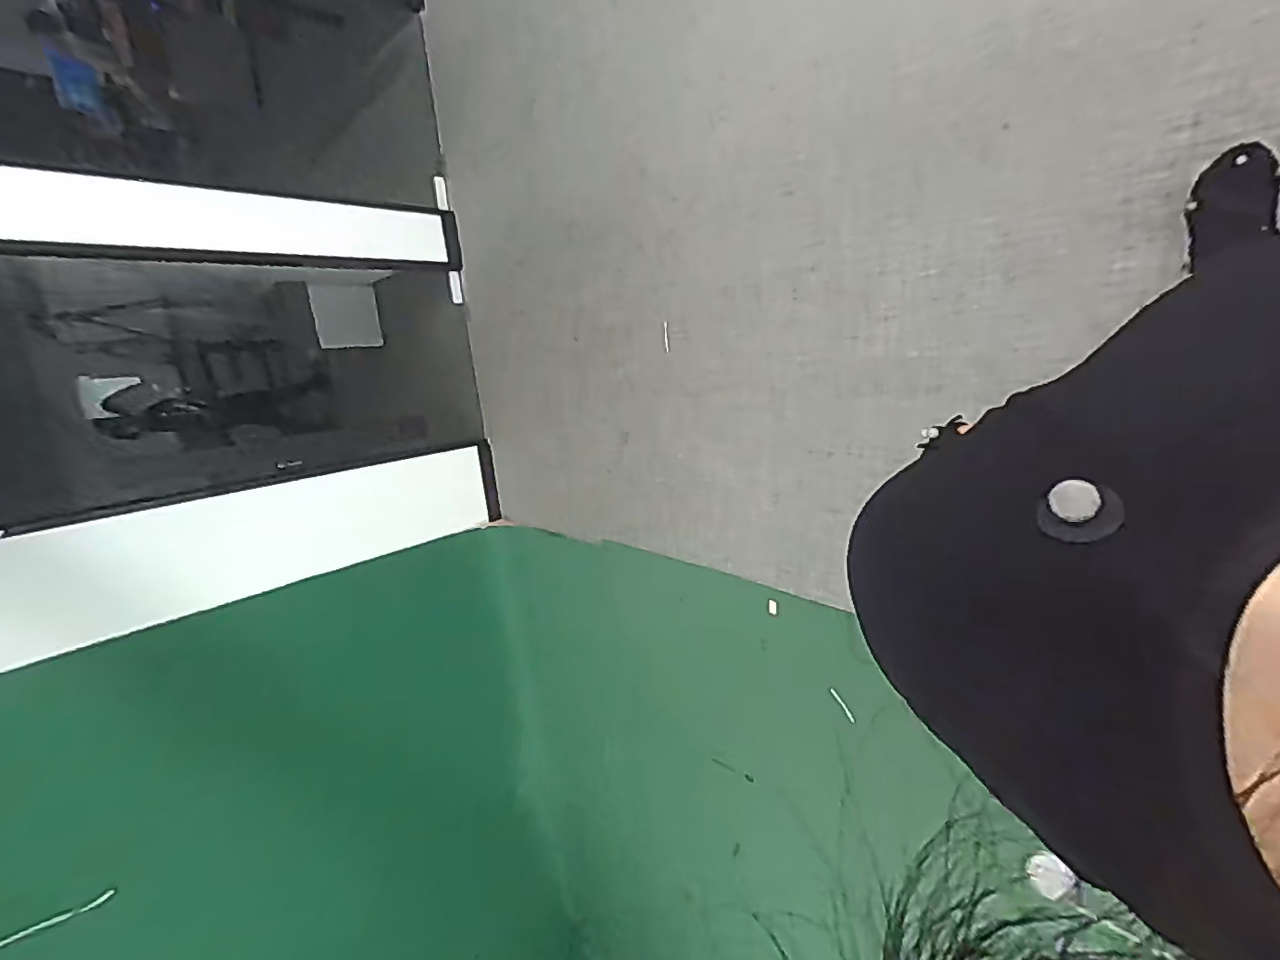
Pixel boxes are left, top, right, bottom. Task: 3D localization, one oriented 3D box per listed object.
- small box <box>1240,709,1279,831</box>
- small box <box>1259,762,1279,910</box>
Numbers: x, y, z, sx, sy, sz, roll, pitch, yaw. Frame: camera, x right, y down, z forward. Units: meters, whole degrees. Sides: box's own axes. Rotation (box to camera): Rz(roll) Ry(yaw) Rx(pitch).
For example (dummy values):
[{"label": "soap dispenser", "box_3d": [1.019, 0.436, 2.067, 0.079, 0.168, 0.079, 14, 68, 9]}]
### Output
[{"label": "small box", "box_3d": [1.194, 0.534, 0.939, 0.179, 0.176, 0.168, 12, 110, 43]}, {"label": "small box", "box_3d": [1.082, 0.568, 0.825, 0.179, 0.176, 0.168, 0, 100, 48]}]
